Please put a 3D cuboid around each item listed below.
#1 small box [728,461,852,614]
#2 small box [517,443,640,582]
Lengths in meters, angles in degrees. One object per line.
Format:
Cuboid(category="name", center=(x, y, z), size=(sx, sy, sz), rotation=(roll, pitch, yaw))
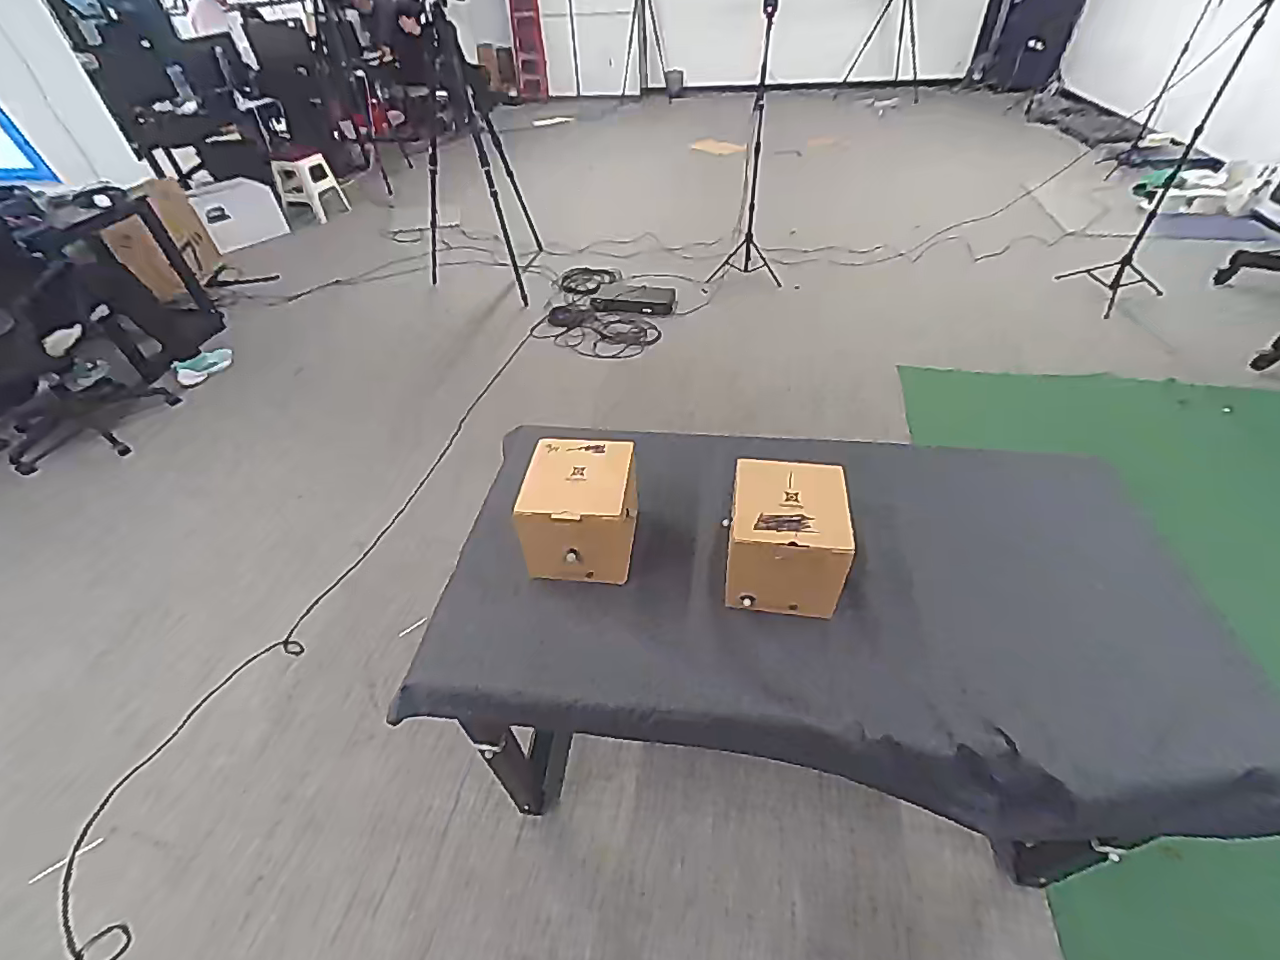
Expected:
Cuboid(category="small box", center=(0.231, 0.093, 0.863), size=(0.168, 0.176, 0.179), rotation=(5, 43, 9))
Cuboid(category="small box", center=(-0.093, 0.057, 0.927), size=(0.168, 0.176, 0.179), rotation=(3, 45, 7))
